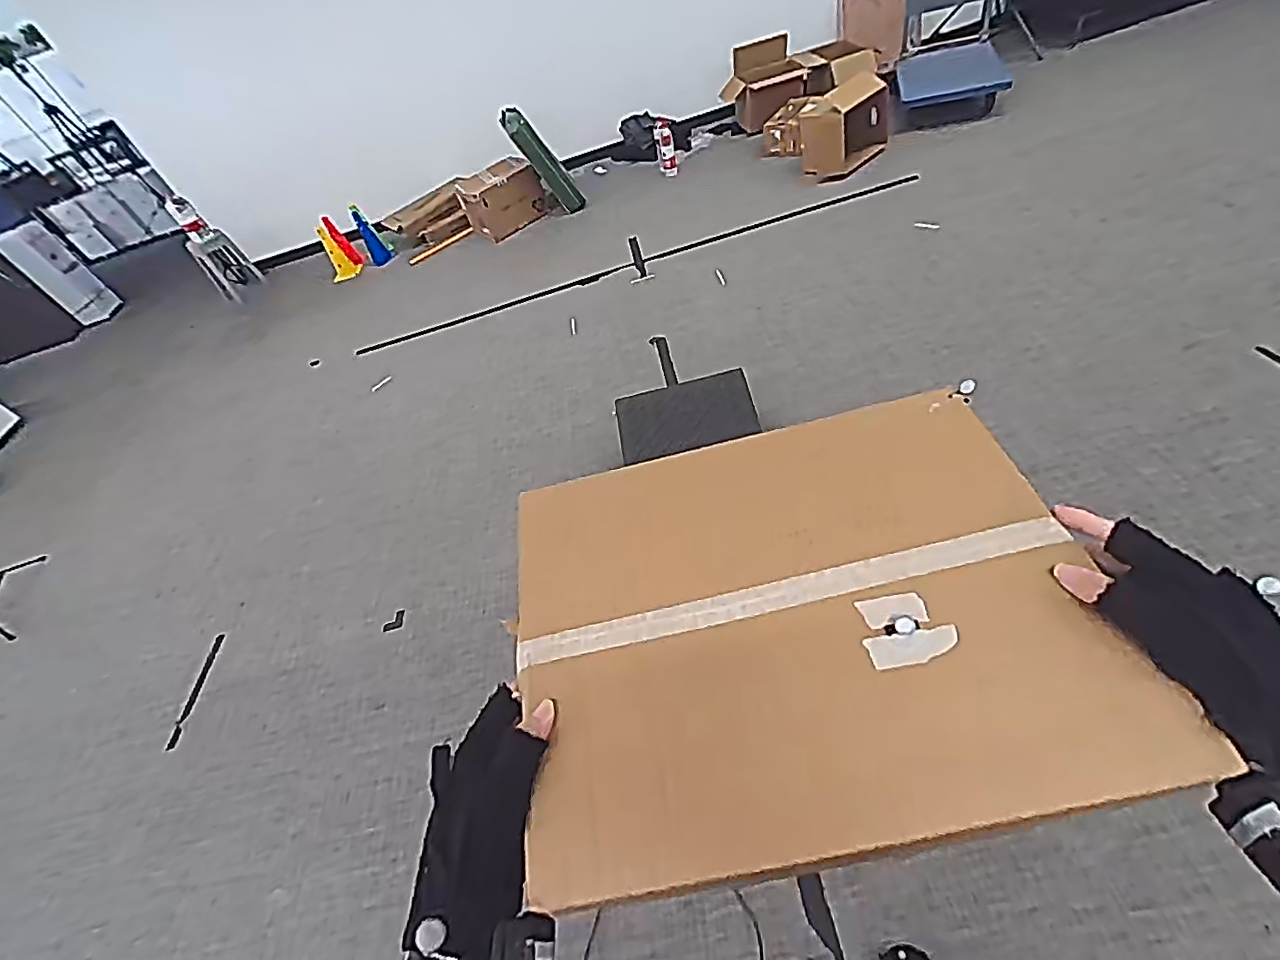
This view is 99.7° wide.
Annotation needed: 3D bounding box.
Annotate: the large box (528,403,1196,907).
[{"bbox_3d":[0.136,0.182,0.528,0.408,0.320,0.320,-14,52,3],"label":"large box"}]
